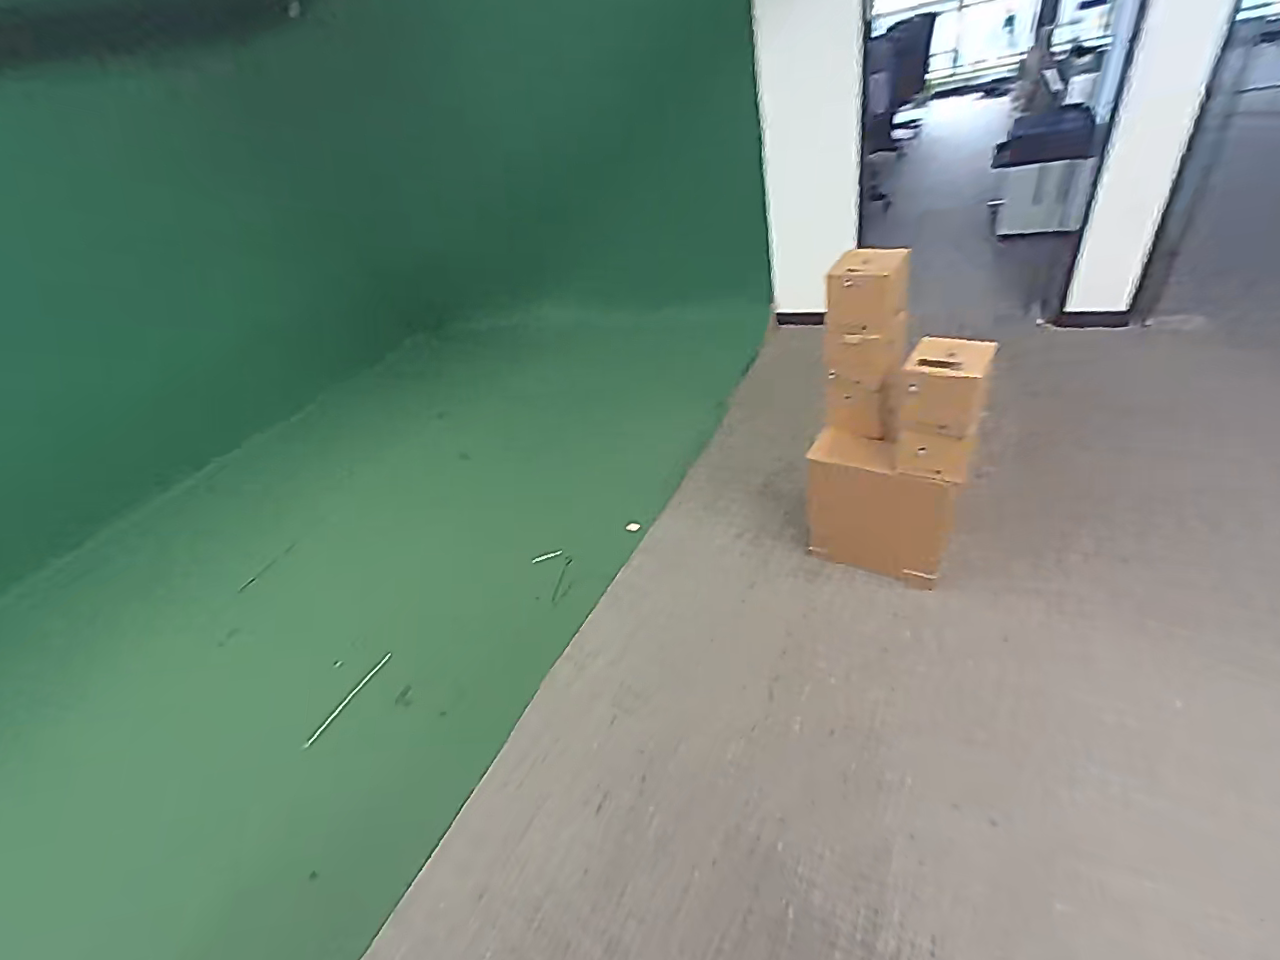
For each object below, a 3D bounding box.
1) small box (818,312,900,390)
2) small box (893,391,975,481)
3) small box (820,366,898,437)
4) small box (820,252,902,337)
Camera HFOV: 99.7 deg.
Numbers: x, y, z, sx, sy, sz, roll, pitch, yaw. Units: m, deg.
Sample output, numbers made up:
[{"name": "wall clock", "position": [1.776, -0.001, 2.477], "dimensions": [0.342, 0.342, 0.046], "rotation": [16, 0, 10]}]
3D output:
[{"name": "small box", "position": [0.639, -0.381, 1.579], "dimensions": [0.168, 0.176, 0.179], "rotation": [21, 50, 38]}, {"name": "small box", "position": [0.794, -0.119, 1.467], "dimensions": [0.168, 0.176, 0.179], "rotation": [12, 46, 31]}, {"name": "small box", "position": [0.676, -0.253, 1.676], "dimensions": [0.179, 0.176, 0.168], "rotation": [20, 50, 36]}, {"name": "small box", "position": [0.604, -0.512, 1.484], "dimensions": [0.168, 0.176, 0.179], "rotation": [14, 46, 34]}]
